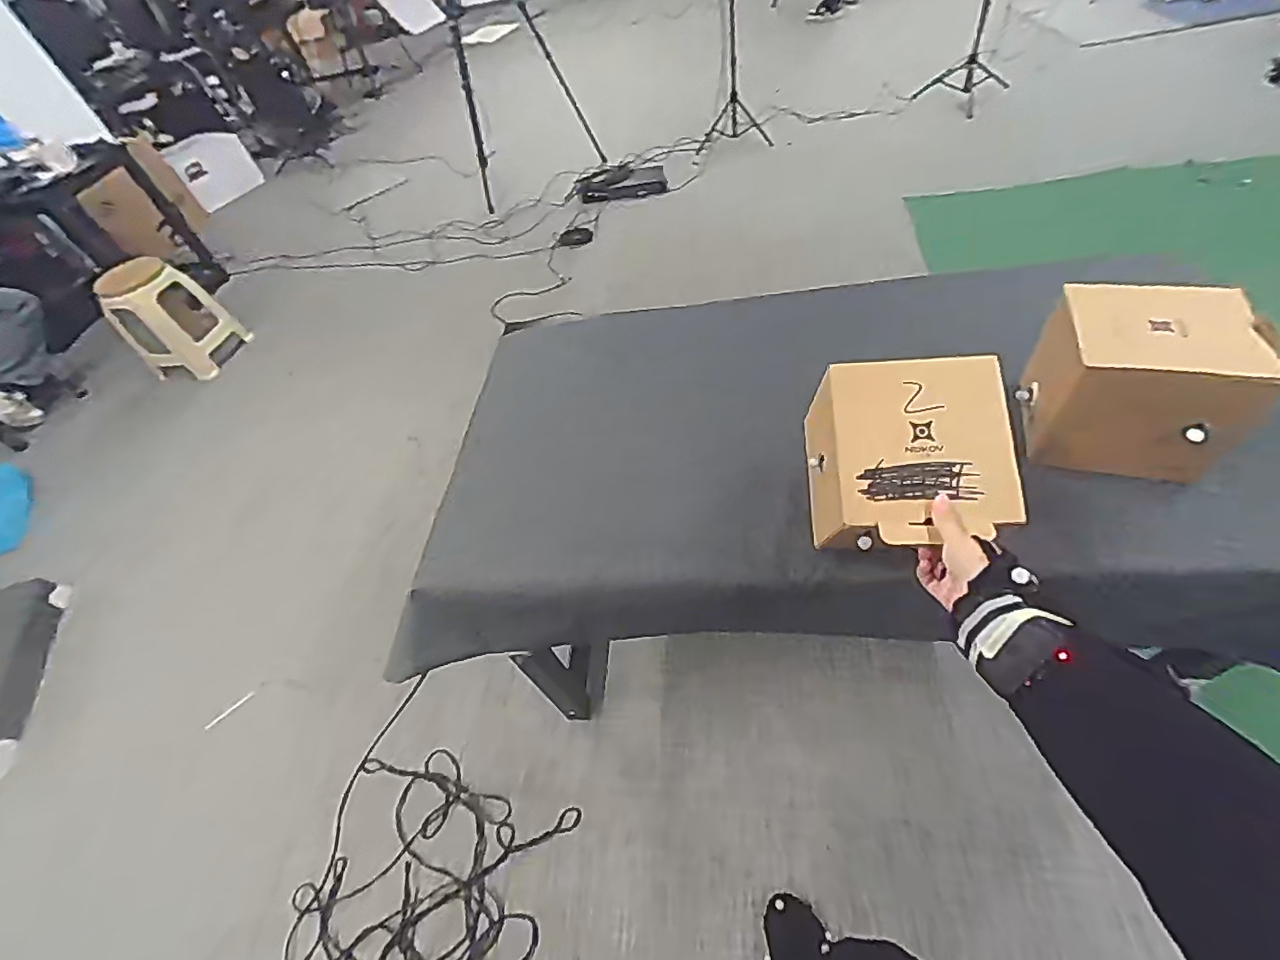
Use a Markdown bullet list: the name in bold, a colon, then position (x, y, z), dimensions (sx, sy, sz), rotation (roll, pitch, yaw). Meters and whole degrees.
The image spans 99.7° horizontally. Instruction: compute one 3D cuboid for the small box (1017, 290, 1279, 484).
- **small box**: position (0.604, -0.113, 0.673), dimensions (0.179, 0.176, 0.168), rotation (8, 52, 19)
